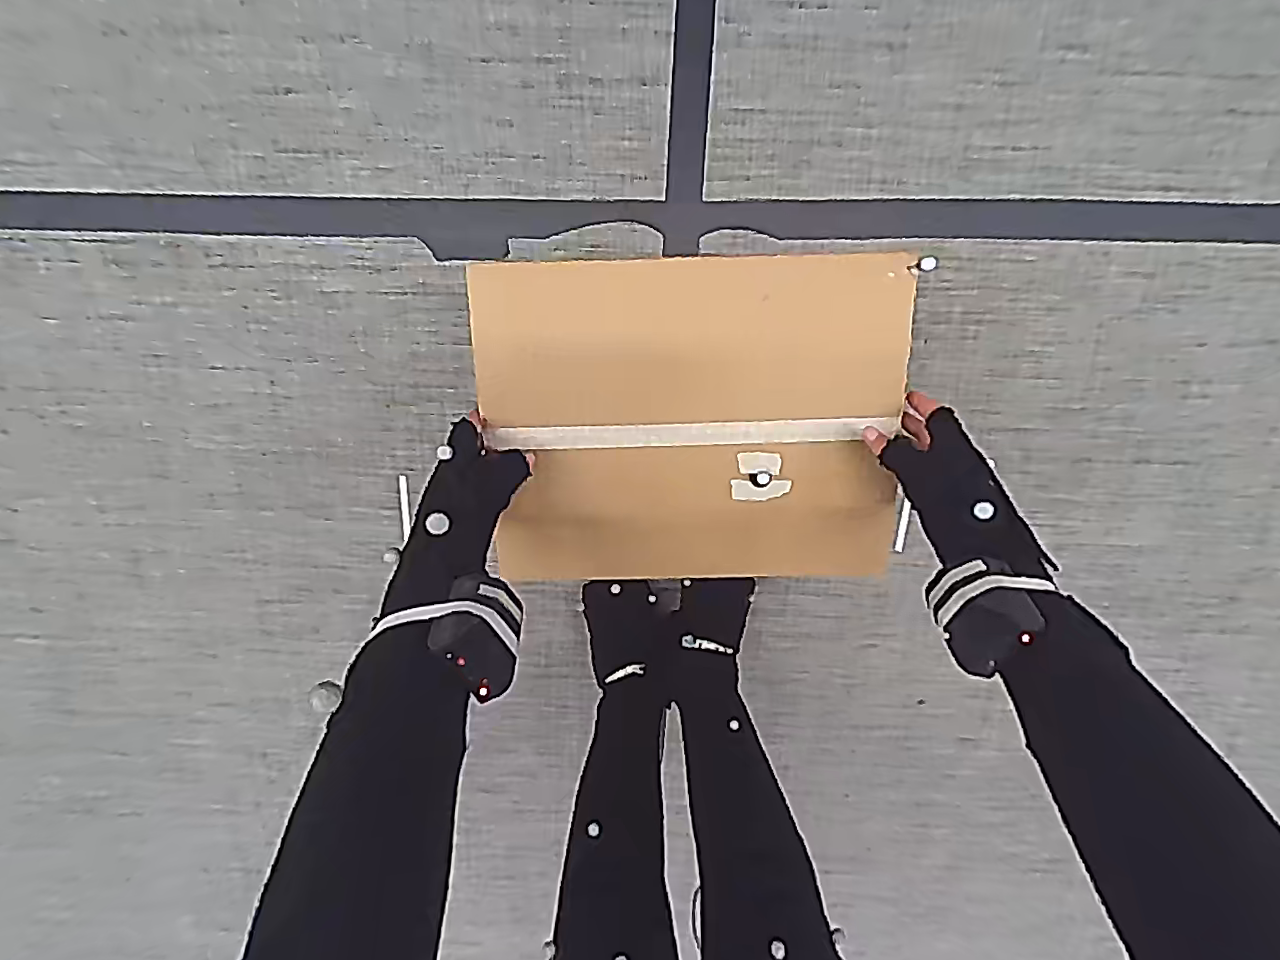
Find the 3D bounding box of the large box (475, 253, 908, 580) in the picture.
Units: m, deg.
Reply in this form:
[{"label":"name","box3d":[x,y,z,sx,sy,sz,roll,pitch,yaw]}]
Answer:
[{"label":"large box","box3d":[0.050,-0.088,0.674,0.408,0.320,0.320,-2,106,0]}]
